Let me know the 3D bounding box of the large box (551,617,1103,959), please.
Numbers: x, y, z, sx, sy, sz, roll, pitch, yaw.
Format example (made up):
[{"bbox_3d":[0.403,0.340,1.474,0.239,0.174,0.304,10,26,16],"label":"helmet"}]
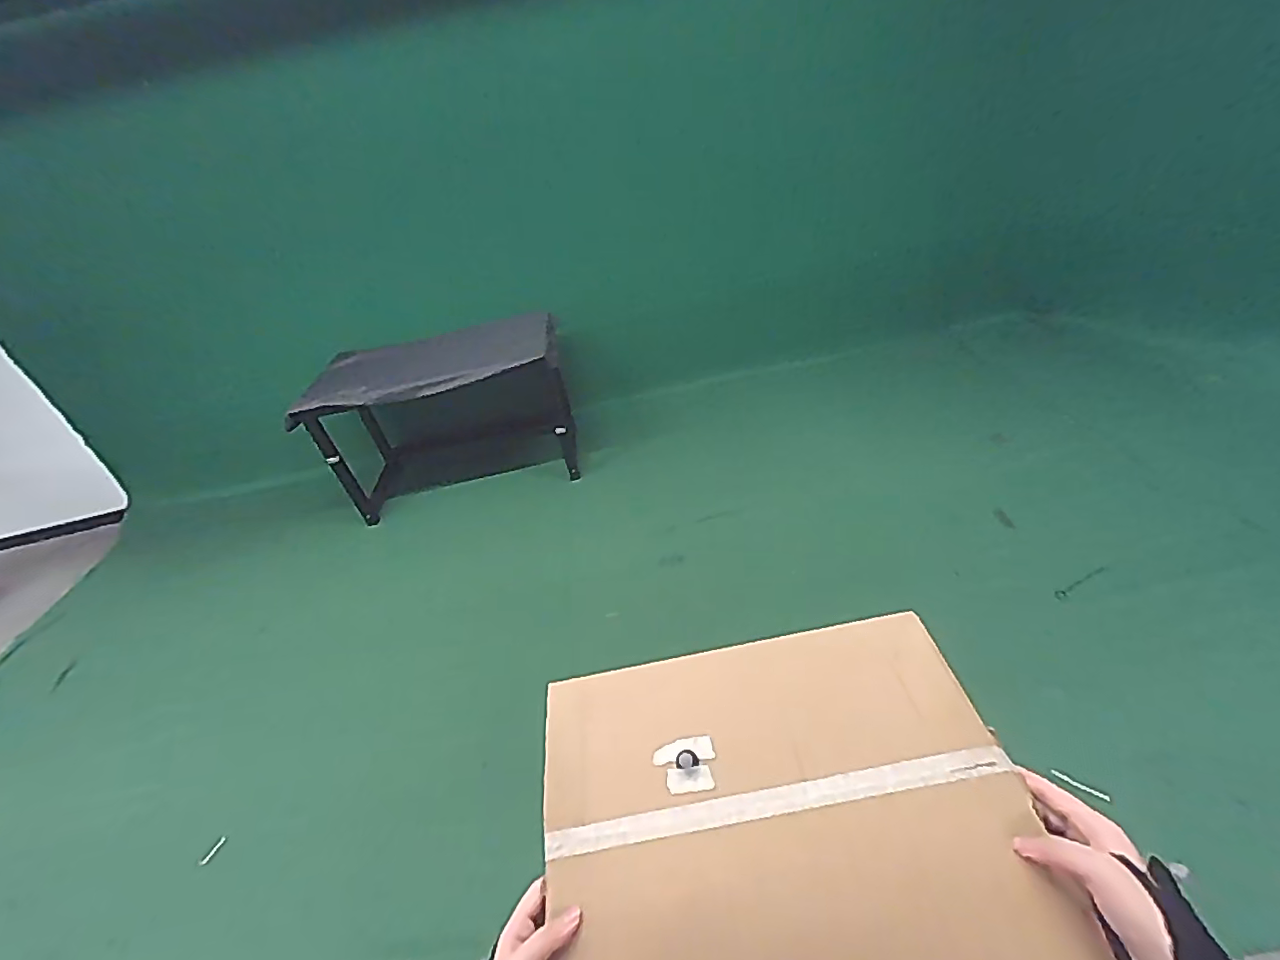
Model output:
[{"bbox_3d":[0.145,0.399,0.579,0.408,0.320,0.320,-14,41,3],"label":"large box"}]
